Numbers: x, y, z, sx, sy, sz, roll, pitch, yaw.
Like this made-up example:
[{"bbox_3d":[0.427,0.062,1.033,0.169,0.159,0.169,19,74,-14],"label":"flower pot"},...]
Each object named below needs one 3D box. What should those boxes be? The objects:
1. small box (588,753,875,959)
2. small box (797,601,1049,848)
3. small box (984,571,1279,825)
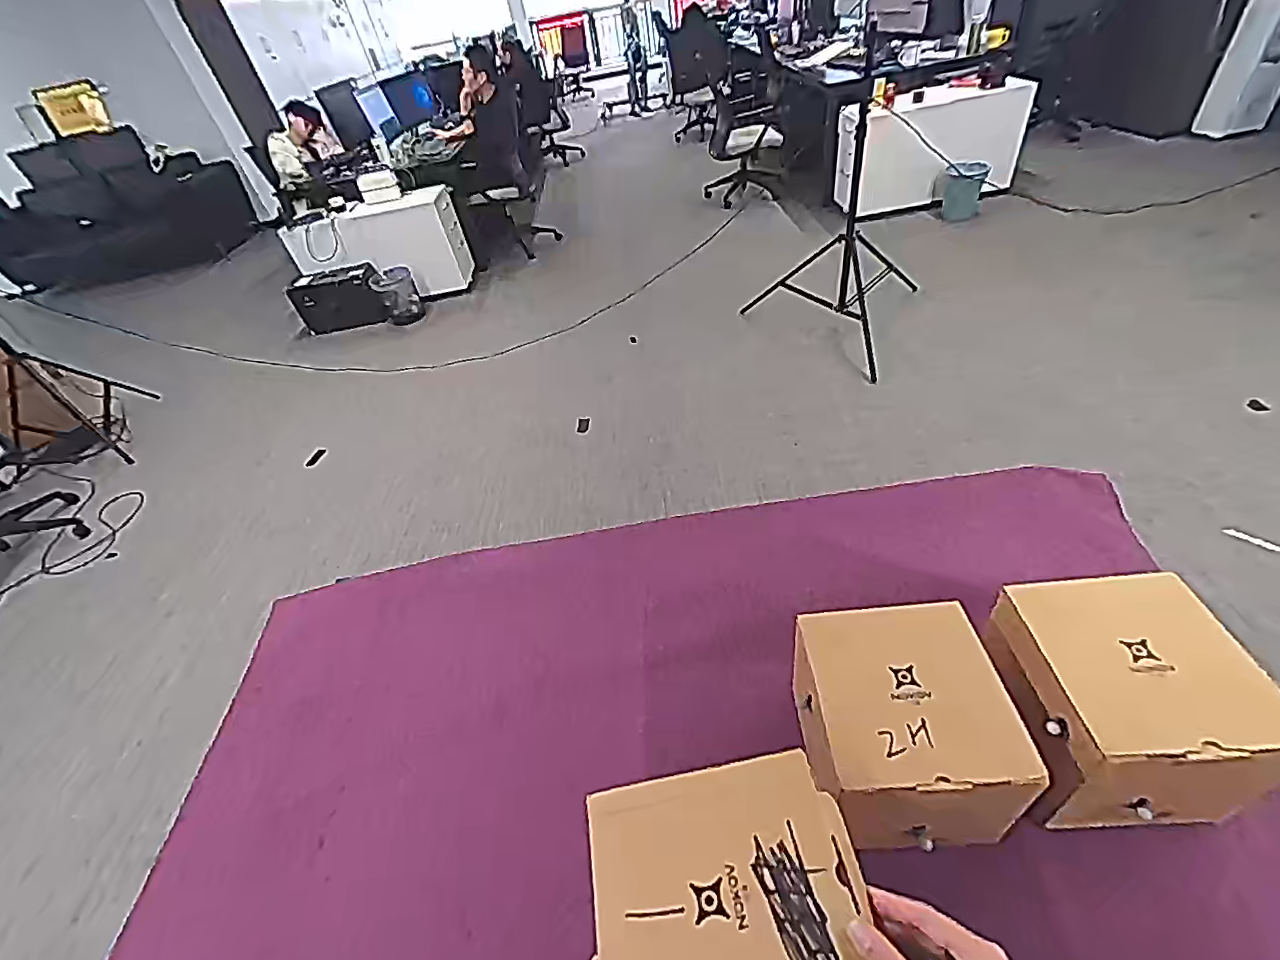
[{"bbox_3d":[0.066,0.339,0.419,0.179,0.176,0.168,-12,43,0],"label":"small box"},{"bbox_3d":[0.261,0.250,0.554,0.168,0.176,0.179,-7,41,7],"label":"small box"},{"bbox_3d":[0.468,0.216,0.539,0.168,0.176,0.179,-7,41,7],"label":"small box"}]
